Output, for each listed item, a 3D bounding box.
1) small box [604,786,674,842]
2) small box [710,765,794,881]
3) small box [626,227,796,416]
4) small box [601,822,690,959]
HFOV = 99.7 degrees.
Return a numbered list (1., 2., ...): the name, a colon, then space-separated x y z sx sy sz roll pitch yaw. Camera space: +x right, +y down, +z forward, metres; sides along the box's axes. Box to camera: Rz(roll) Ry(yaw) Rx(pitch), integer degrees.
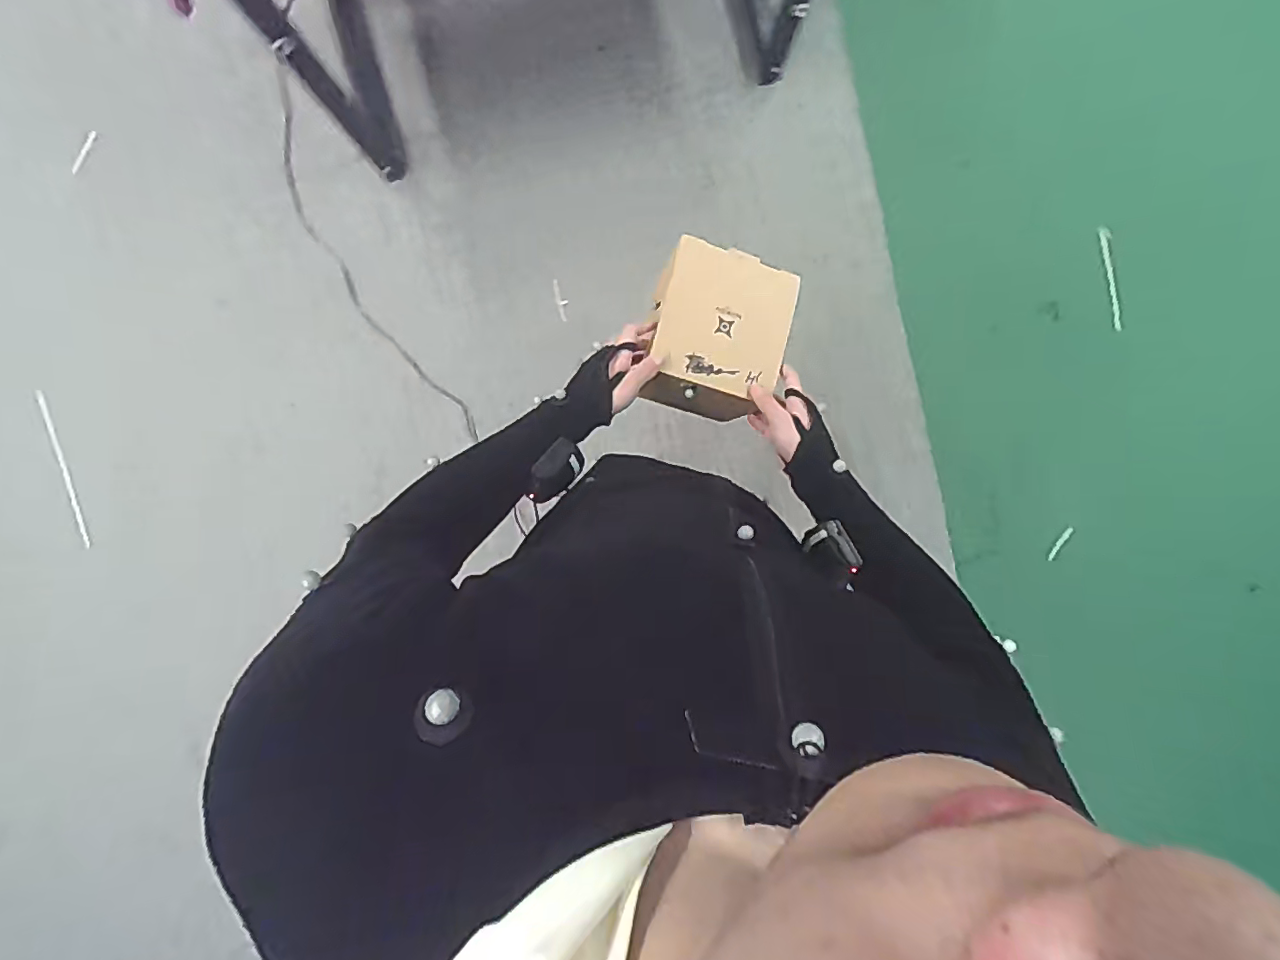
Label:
1. small box: -0.002 0.901 1.363 0.168 0.176 0.179 -7 94 -3
2. small box: 0.278 0.863 1.372 0.168 0.176 0.179 -9 94 -1
3. small box: 0.085 -0.200 0.735 0.168 0.176 0.179 14 86 -10
4. small box: 0.008 0.906 1.198 0.168 0.176 0.179 -9 93 -4
